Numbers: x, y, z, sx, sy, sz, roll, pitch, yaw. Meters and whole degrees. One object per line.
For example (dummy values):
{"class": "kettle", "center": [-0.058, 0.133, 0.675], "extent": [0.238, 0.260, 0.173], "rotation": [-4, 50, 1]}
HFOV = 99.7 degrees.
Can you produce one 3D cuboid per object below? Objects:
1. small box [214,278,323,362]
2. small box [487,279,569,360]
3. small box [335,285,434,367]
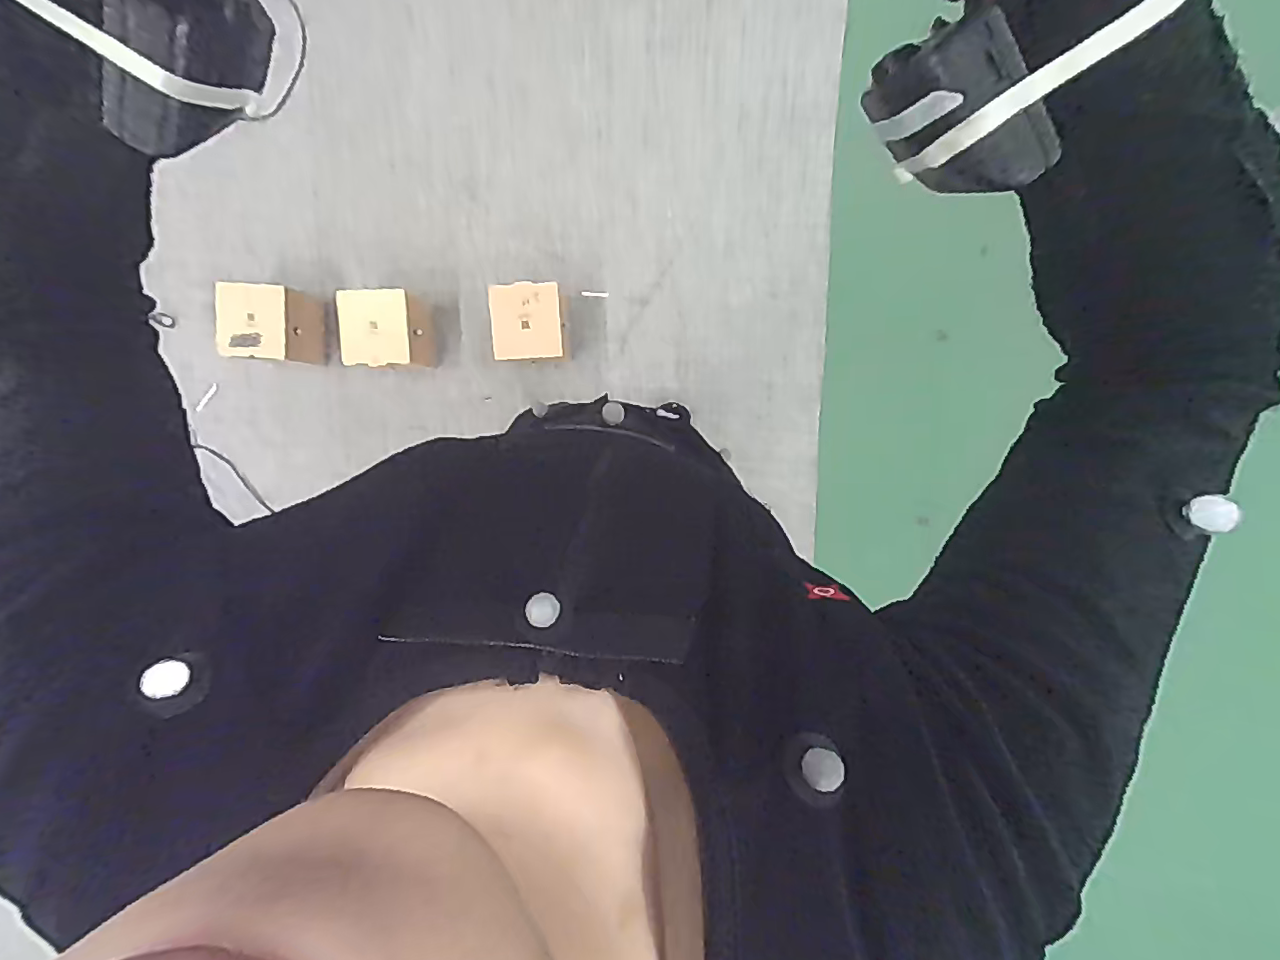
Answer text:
{"class": "small box", "center": [-0.923, -0.394, 1.356], "extent": [0.168, 0.176, 0.179], "rotation": [4, 96, 0]}
{"class": "small box", "center": [-0.273, -0.393, 1.351], "extent": [0.168, 0.176, 0.179], "rotation": [-3, 98, 0]}
{"class": "small box", "center": [-0.632, -0.381, 1.357], "extent": [0.168, 0.176, 0.179], "rotation": [-1, 98, 1]}
